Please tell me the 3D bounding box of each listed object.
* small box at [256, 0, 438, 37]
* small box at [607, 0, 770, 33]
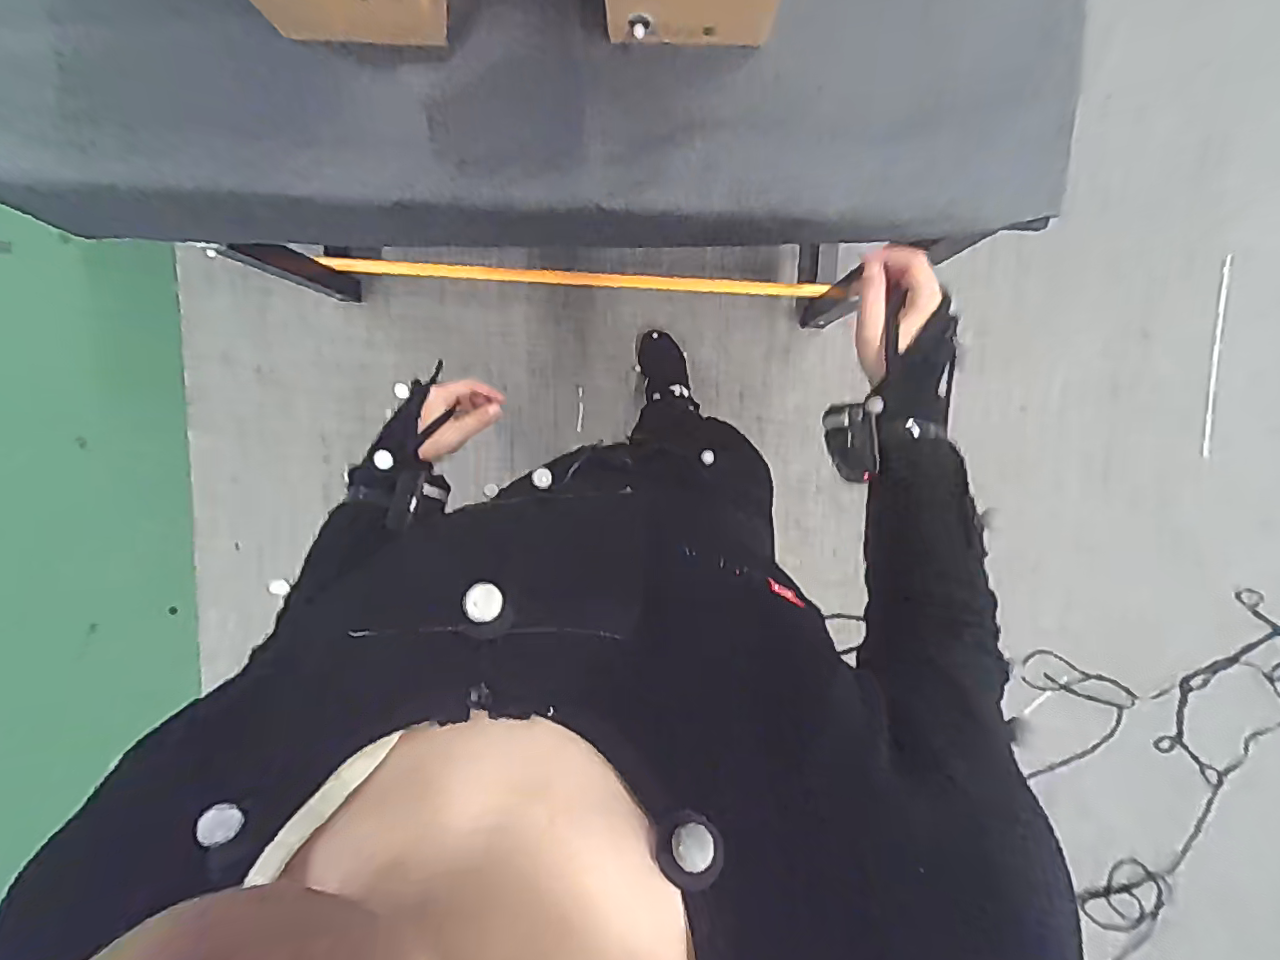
[{"bbox_3d":[-0.289,-0.540,0.481,0.179,0.176,0.168,3,95,1],"label":"small box"},{"bbox_3d":[0.048,-0.541,0.476,0.168,0.176,0.179,1,95,0],"label":"small box"}]
